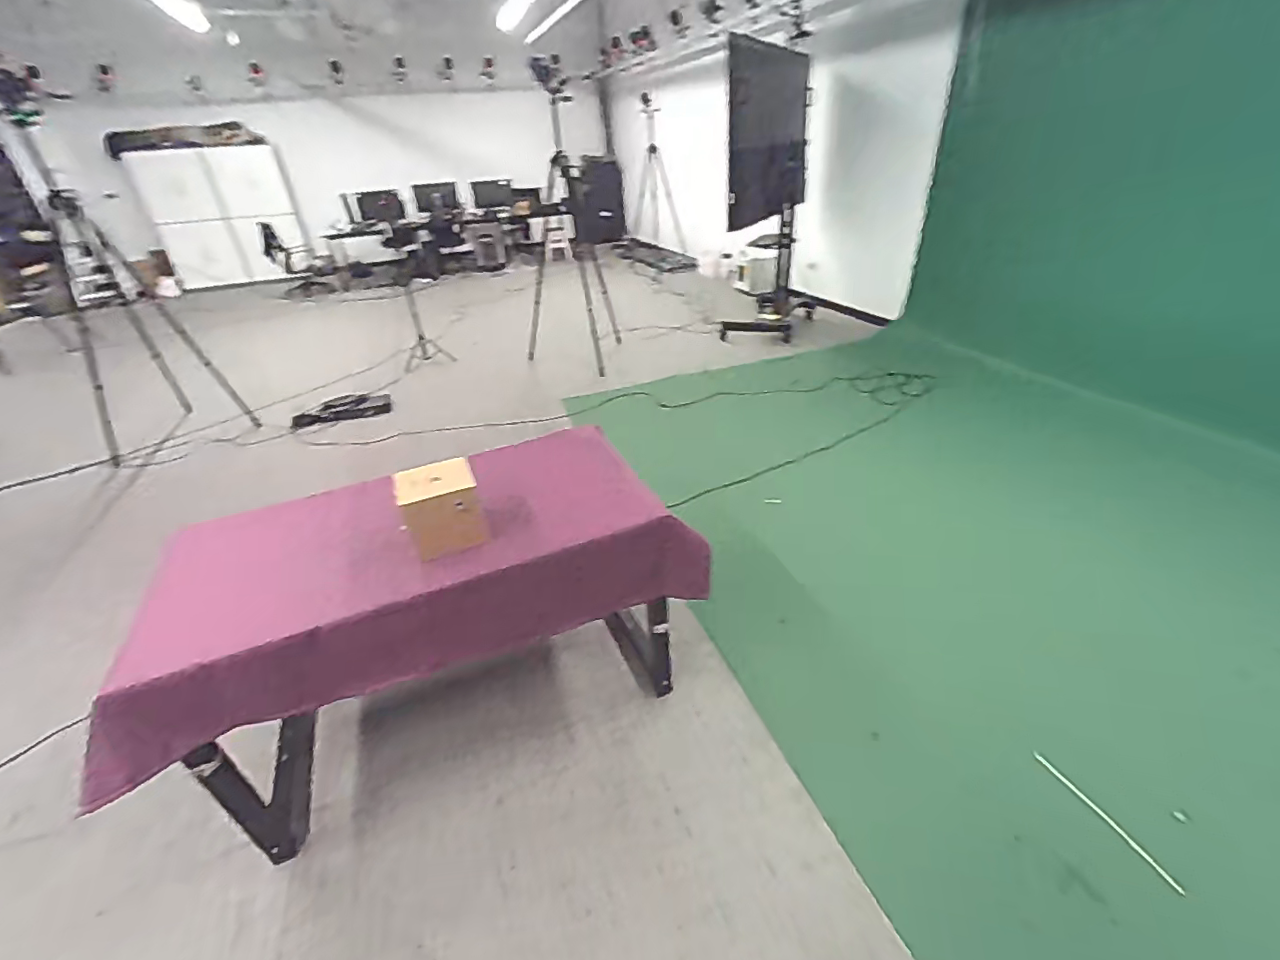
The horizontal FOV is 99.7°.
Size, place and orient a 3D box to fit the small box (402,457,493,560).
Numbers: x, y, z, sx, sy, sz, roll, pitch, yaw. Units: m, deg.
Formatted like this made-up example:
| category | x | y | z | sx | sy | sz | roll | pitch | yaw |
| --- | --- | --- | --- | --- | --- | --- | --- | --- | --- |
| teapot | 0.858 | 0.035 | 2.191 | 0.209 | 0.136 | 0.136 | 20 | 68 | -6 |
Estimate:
| category | x | y | z | sx | sy | sz | roll | pitch | yaw |
| --- | --- | --- | --- | --- | --- | --- | --- | --- | --- |
| small box | -0.473 | 0.070 | 1.341 | 0.179 | 0.176 | 0.168 | -17 | 33 | -18 |
